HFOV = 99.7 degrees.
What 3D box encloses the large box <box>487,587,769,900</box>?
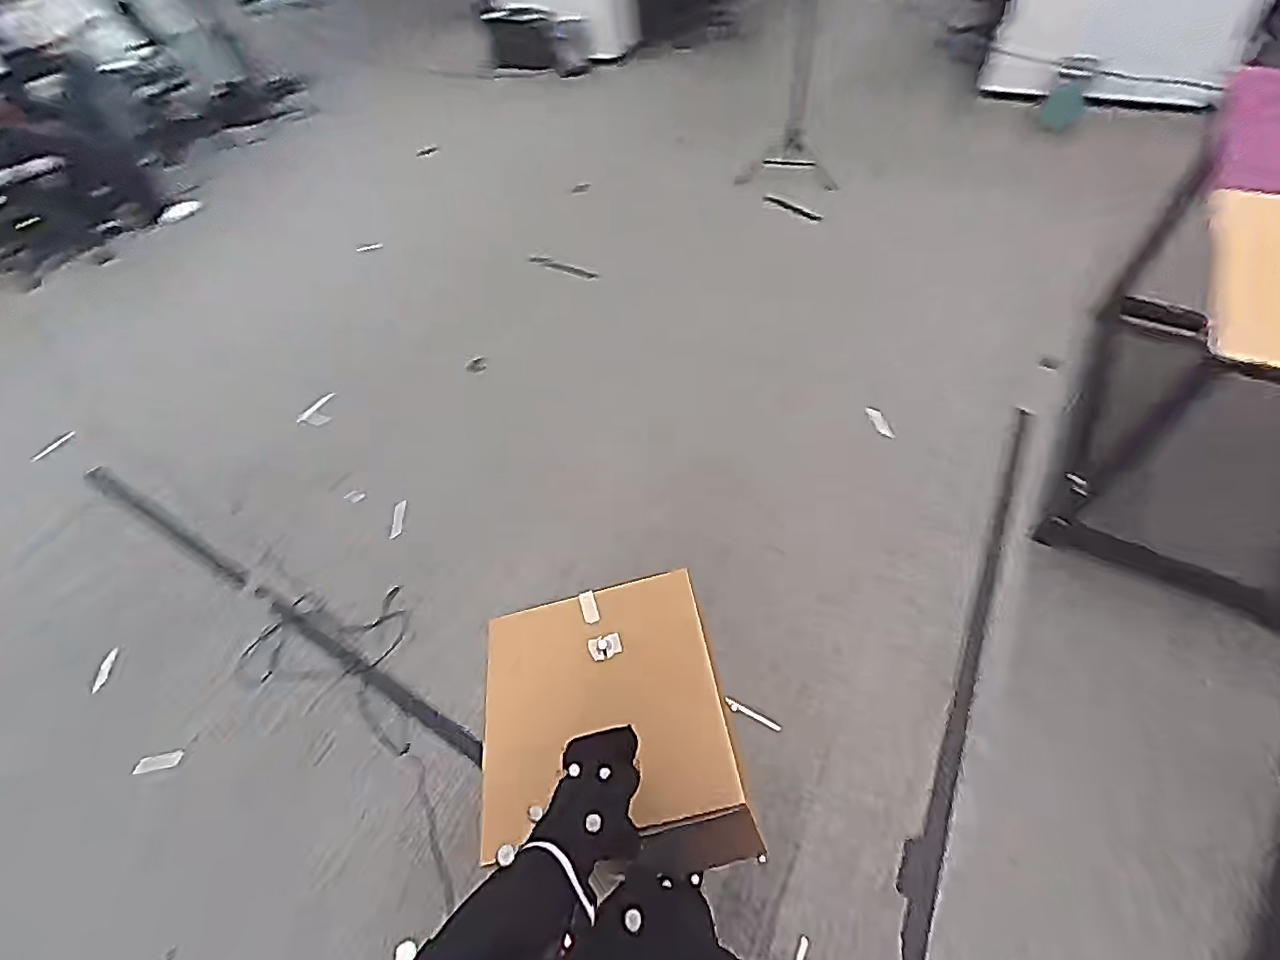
[{"bbox_3d":[-0.010,0.424,0.845,0.320,0.408,0.320,-17,49,4],"label":"large box"}]
